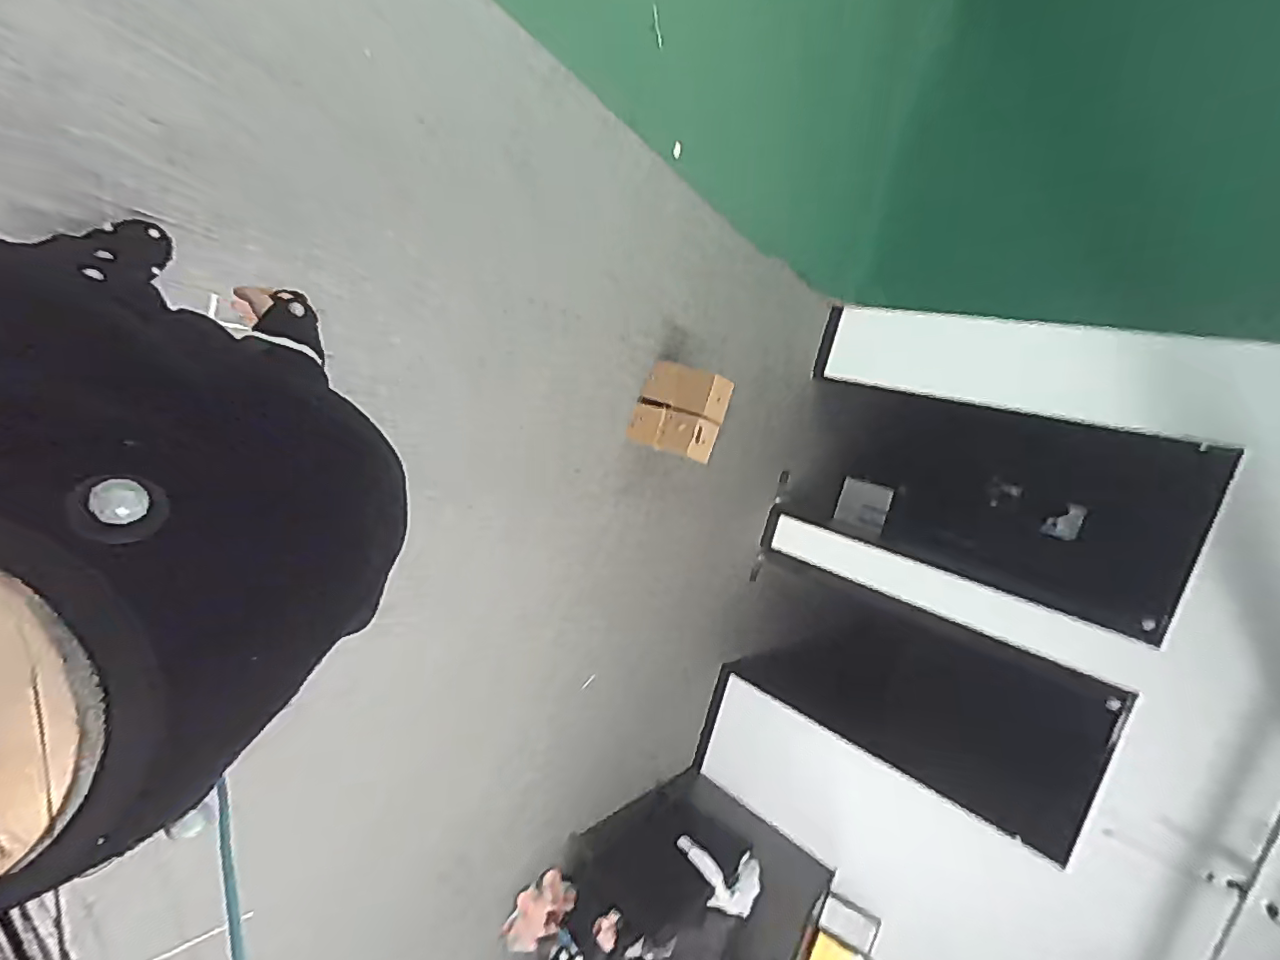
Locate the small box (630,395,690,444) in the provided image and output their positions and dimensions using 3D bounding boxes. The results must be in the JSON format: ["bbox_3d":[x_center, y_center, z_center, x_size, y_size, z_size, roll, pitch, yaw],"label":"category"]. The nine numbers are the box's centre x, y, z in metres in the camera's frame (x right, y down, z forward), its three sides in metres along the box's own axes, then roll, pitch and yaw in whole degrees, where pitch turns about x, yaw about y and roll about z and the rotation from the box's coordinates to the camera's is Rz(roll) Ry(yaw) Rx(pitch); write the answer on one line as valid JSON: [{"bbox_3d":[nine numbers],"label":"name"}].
[{"bbox_3d":[0.087,-0.266,2.363,0.179,0.176,0.168,6,102,-51],"label":"small box"}]
